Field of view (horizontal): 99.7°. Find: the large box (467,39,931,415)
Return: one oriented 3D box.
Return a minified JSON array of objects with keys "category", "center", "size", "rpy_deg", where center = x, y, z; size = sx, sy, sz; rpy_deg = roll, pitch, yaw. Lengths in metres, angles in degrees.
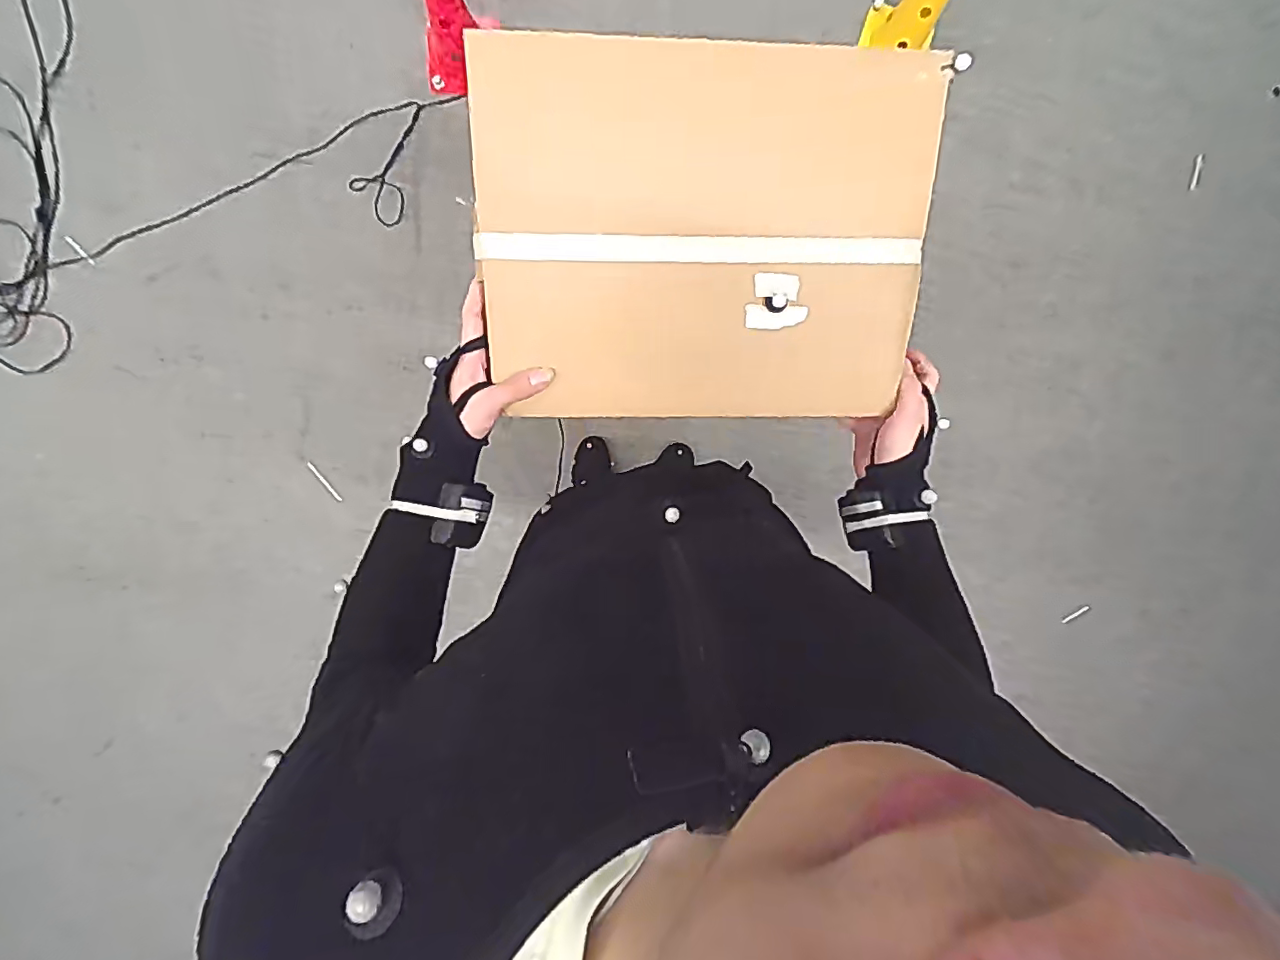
[{"category":"large box","center":[0.043,-0.263,0.640],"size":[0.408,0.320,0.320],"rpy_deg":[-1,109,-4]}]
